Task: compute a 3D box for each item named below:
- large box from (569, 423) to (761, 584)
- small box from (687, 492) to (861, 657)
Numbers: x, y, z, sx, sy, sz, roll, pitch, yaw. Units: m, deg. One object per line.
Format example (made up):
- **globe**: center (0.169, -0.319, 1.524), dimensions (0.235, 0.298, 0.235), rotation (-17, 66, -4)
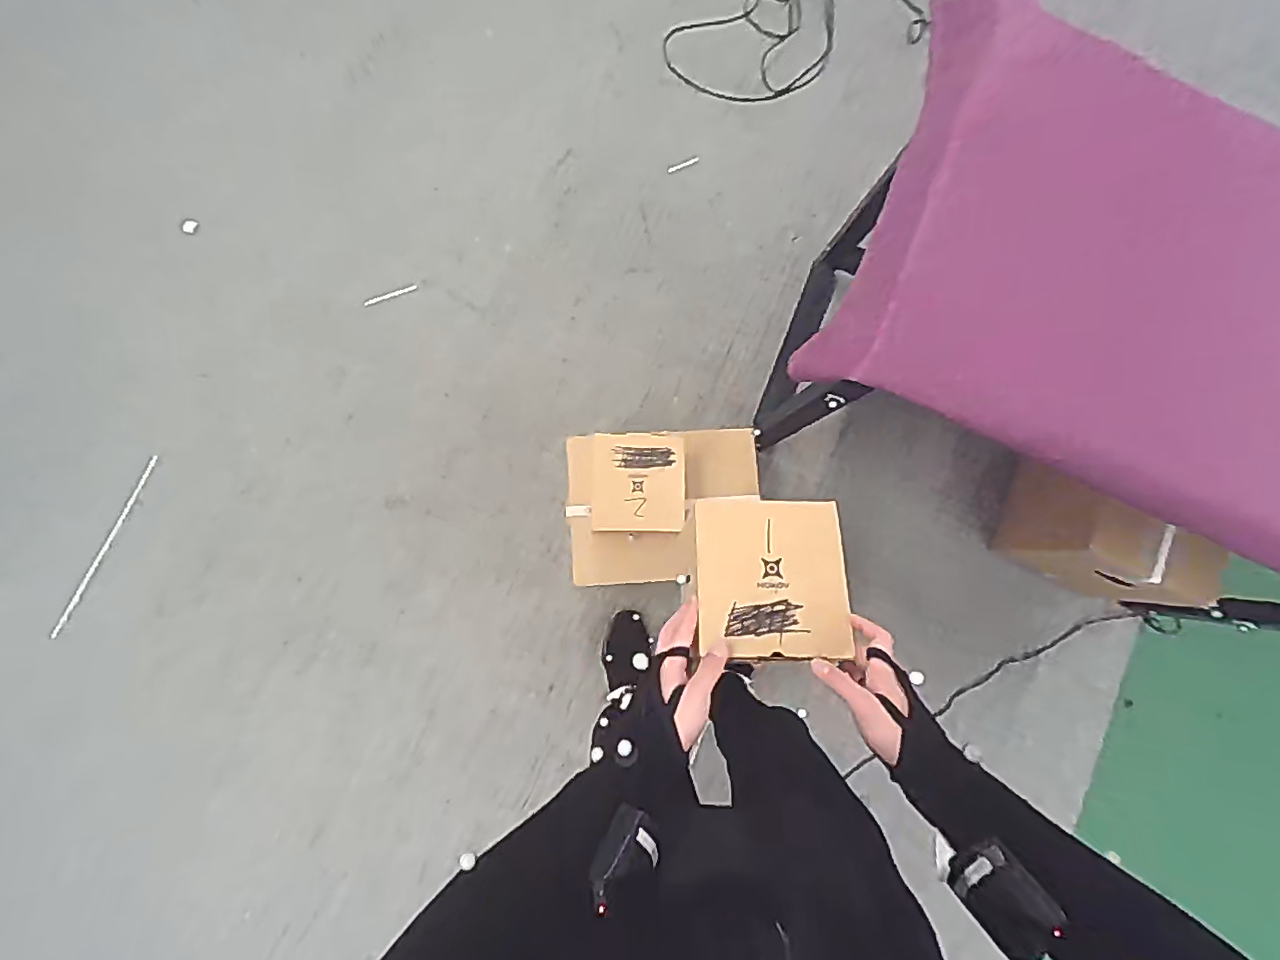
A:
- **large box**: center (0.048, 0.061, 1.276), dimensions (0.408, 0.320, 0.320), rotation (-4, 85, -5)
- **small box**: center (0.149, 0.123, 0.661), dimensions (0.168, 0.176, 0.179), rotation (1, 70, -1)
